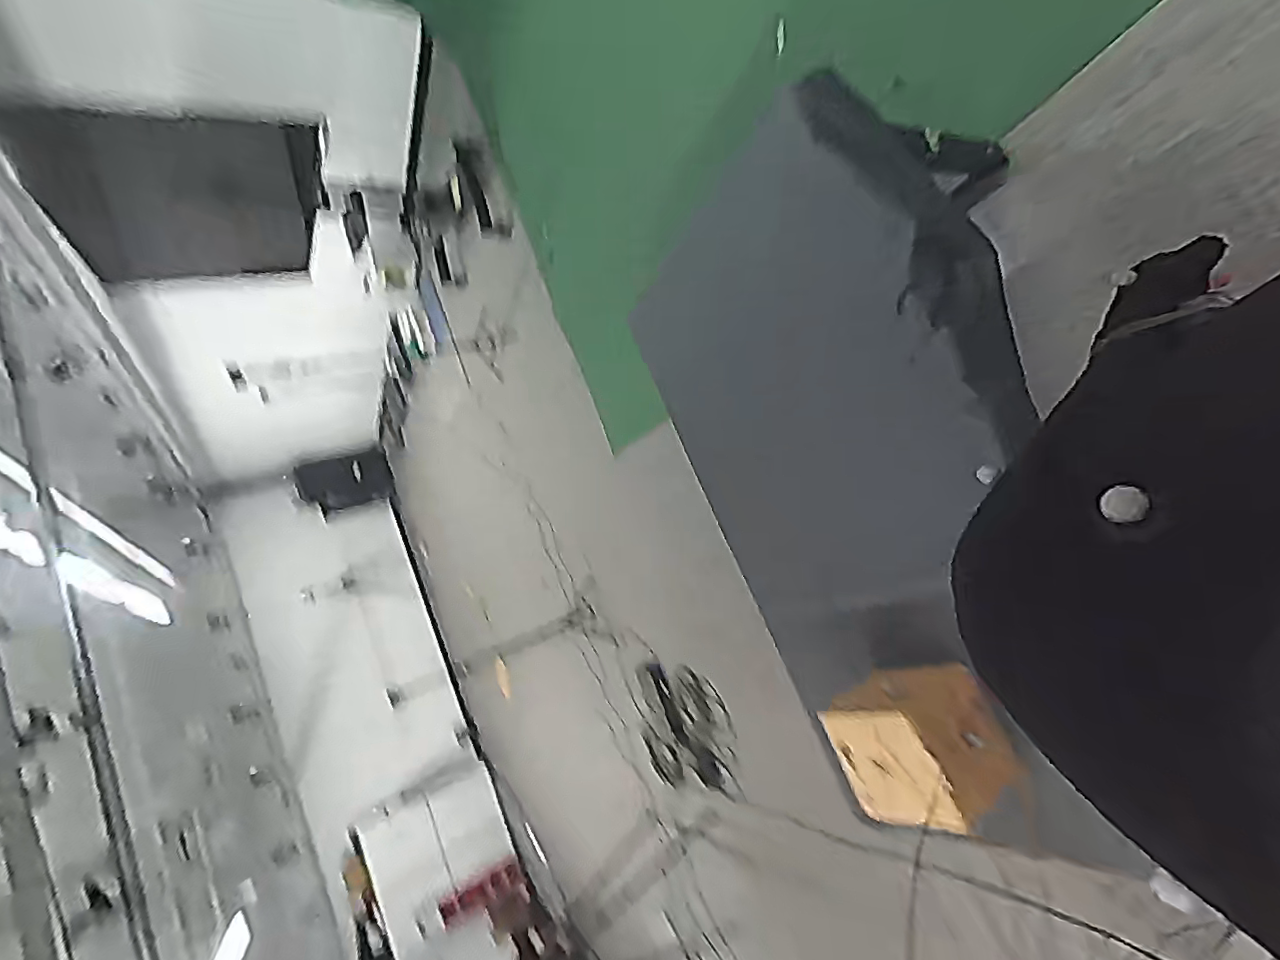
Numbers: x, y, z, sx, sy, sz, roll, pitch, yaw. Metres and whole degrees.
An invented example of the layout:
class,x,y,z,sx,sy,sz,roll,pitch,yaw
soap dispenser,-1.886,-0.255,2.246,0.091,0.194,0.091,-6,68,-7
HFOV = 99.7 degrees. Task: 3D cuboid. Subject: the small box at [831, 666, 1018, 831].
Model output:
class,x,y,z,sx,sy,sz,roll,pitch,yaw
small box,0.445,0.405,0.841,0.179,0.176,0.168,-42,68,55
